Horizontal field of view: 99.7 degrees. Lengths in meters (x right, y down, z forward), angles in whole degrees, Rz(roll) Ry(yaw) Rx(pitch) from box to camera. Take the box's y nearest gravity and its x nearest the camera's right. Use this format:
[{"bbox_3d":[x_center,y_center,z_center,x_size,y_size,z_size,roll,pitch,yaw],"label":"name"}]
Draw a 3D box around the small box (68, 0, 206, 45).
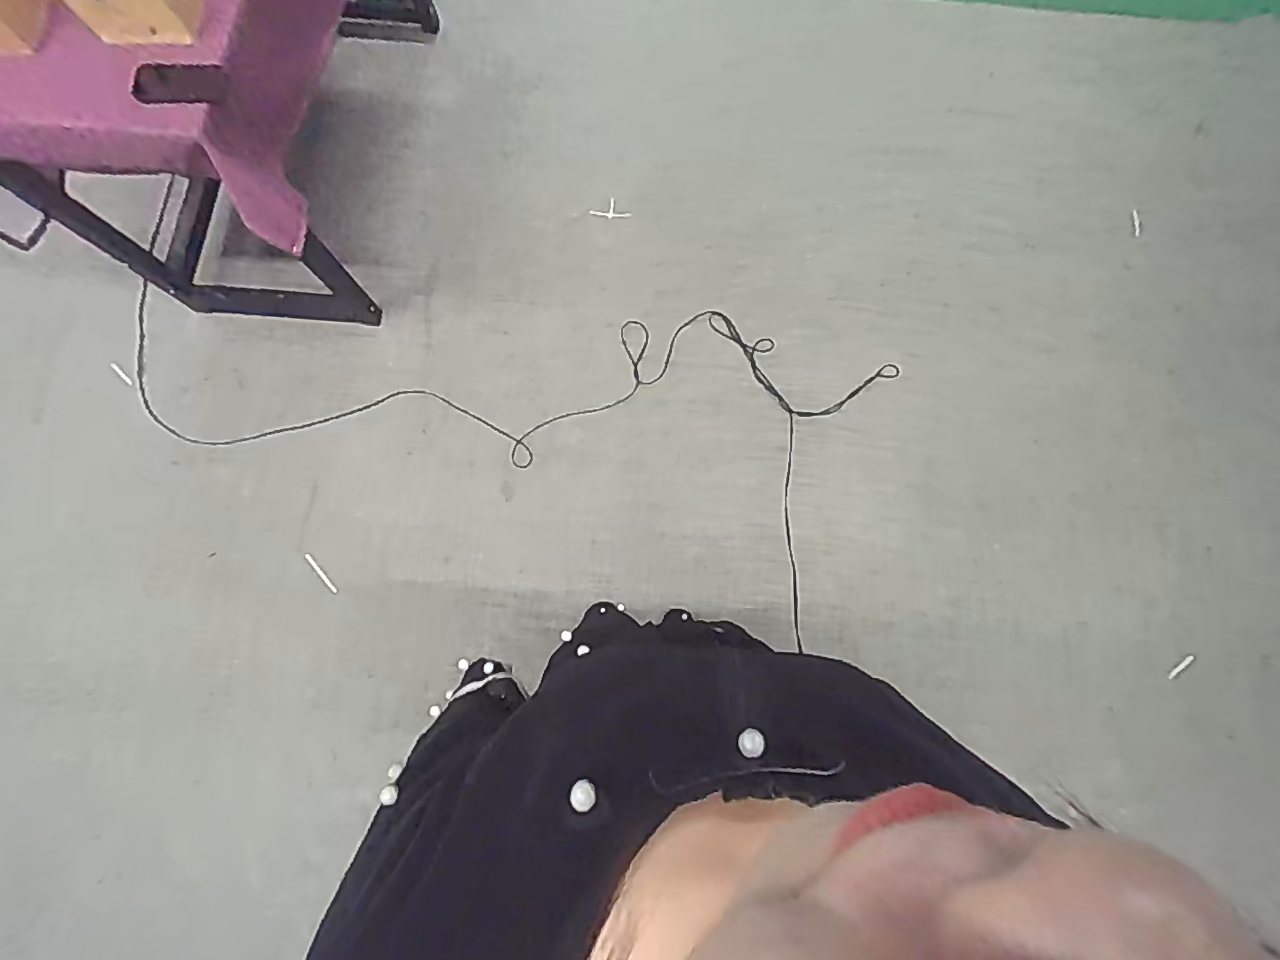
[{"bbox_3d":[-0.889,-0.891,0.926,0.168,0.176,0.179,-1,77,-1],"label":"small box"}]
